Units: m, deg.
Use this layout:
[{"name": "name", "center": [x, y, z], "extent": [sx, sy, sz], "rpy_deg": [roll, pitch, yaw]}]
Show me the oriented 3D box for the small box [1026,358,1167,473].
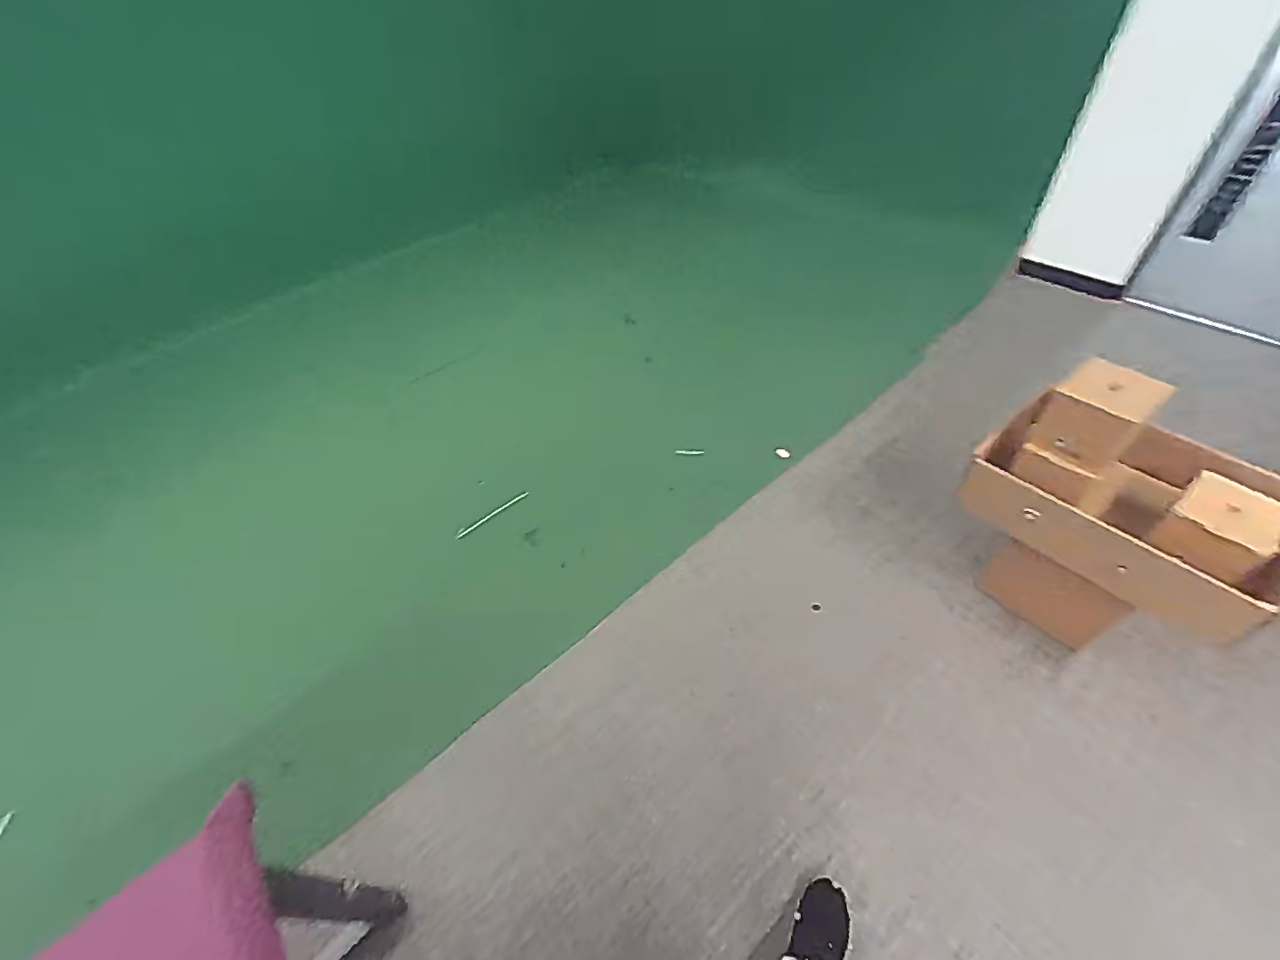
[{"name": "small box", "center": [1.055, -0.150, 1.266], "extent": [0.179, 0.176, 0.168], "rpy_deg": [-32, 52, -20]}]
